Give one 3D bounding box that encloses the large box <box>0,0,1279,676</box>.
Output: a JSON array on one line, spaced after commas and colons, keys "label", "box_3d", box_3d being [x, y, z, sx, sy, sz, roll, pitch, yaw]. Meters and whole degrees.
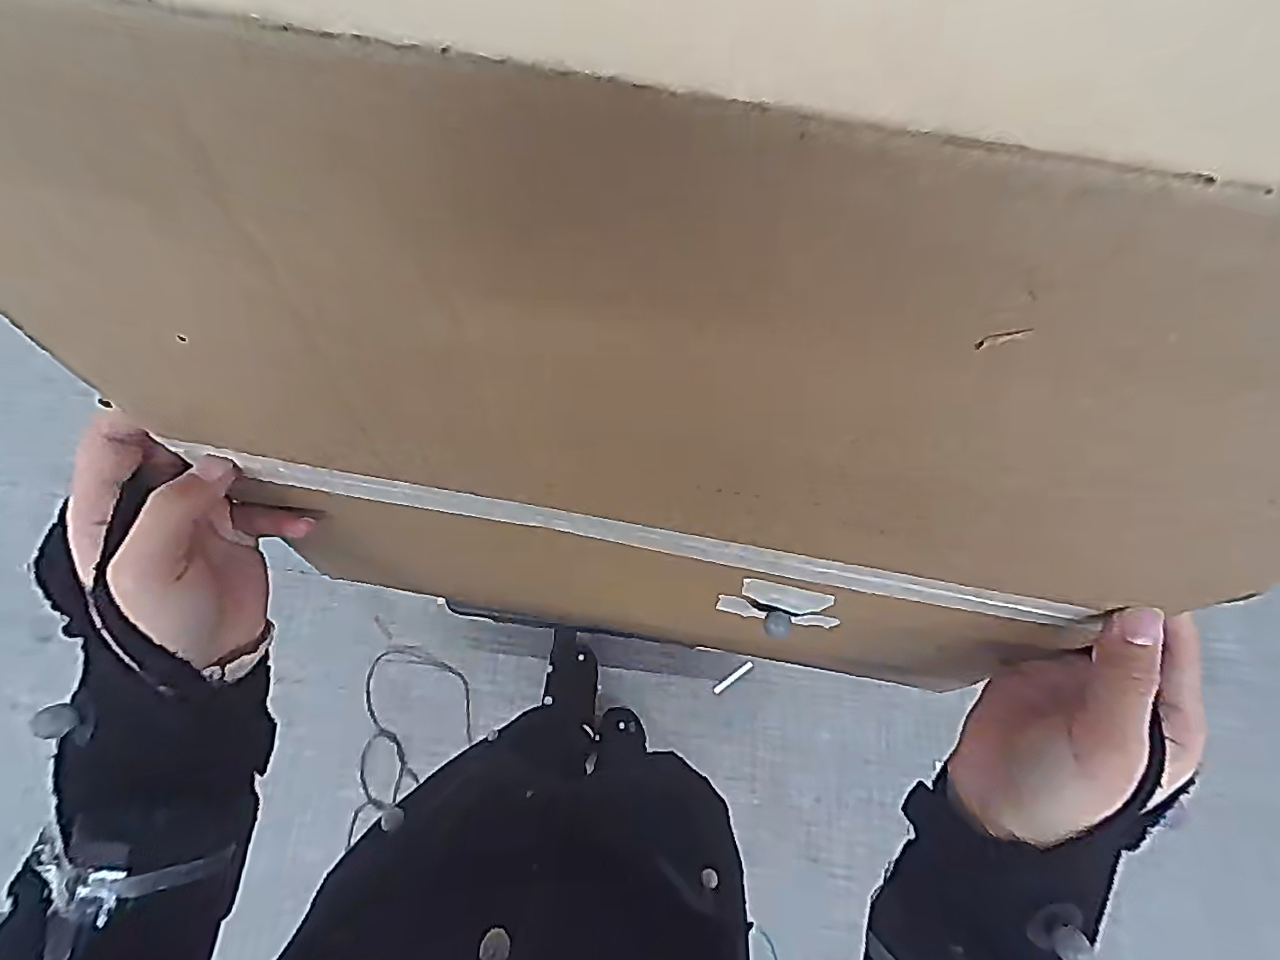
[{"label": "large box", "box_3d": [0.023, -0.108, 0.307, 0.408, 0.320, 0.320, 9, 60, 1]}]
